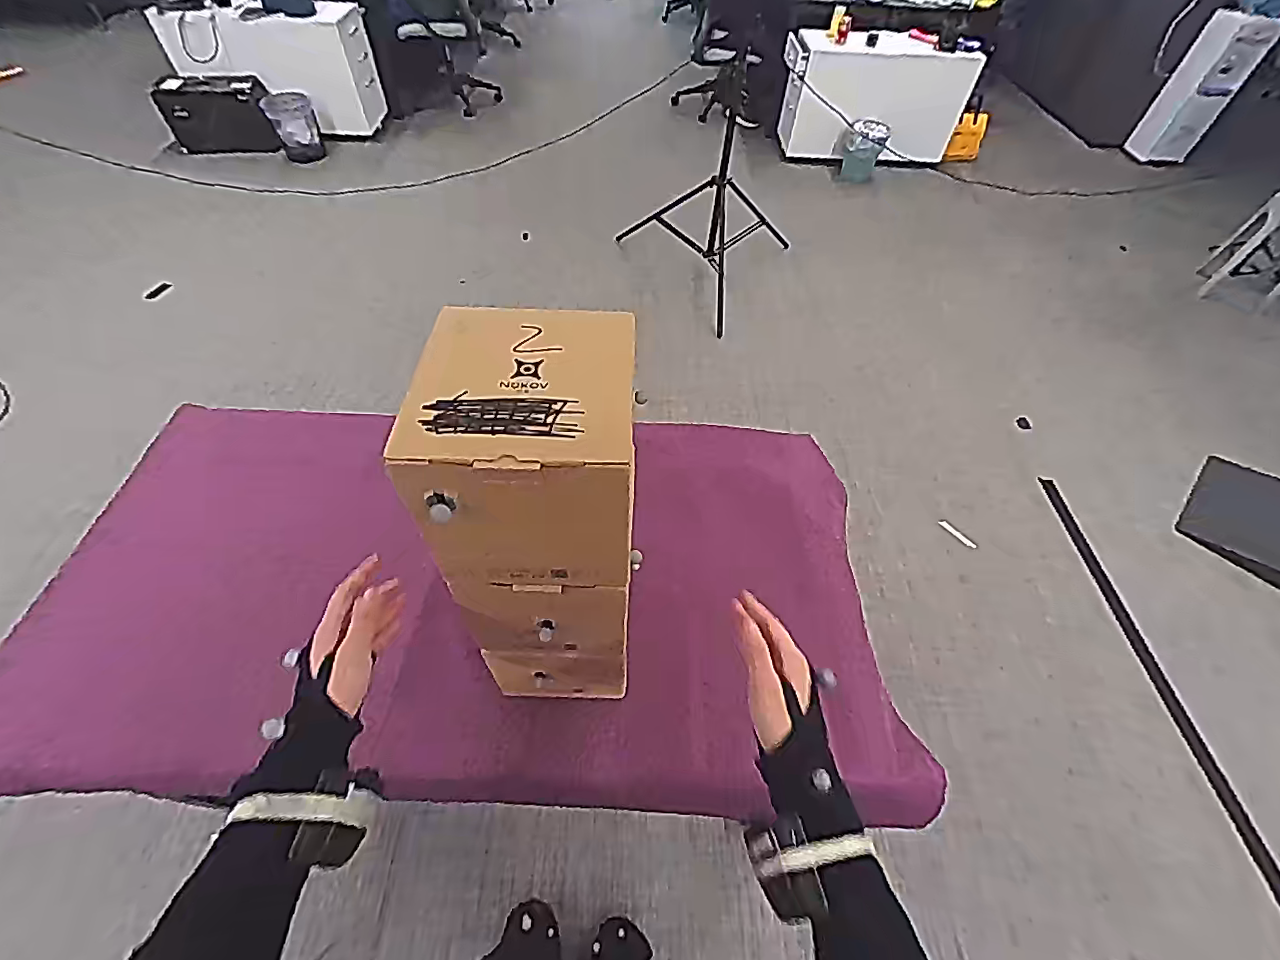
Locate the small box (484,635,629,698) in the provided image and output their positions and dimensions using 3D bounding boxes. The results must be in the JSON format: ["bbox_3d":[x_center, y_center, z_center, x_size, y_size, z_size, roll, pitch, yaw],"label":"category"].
[{"bbox_3d":[-0.097,0.183,0.726,0.168,0.176,0.179,2,52,-1],"label":"small box"}]

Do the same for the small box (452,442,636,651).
[{"bbox_3d":[-0.090,0.079,0.600,0.168,0.176,0.179,2,53,-1],"label":"small box"}]
